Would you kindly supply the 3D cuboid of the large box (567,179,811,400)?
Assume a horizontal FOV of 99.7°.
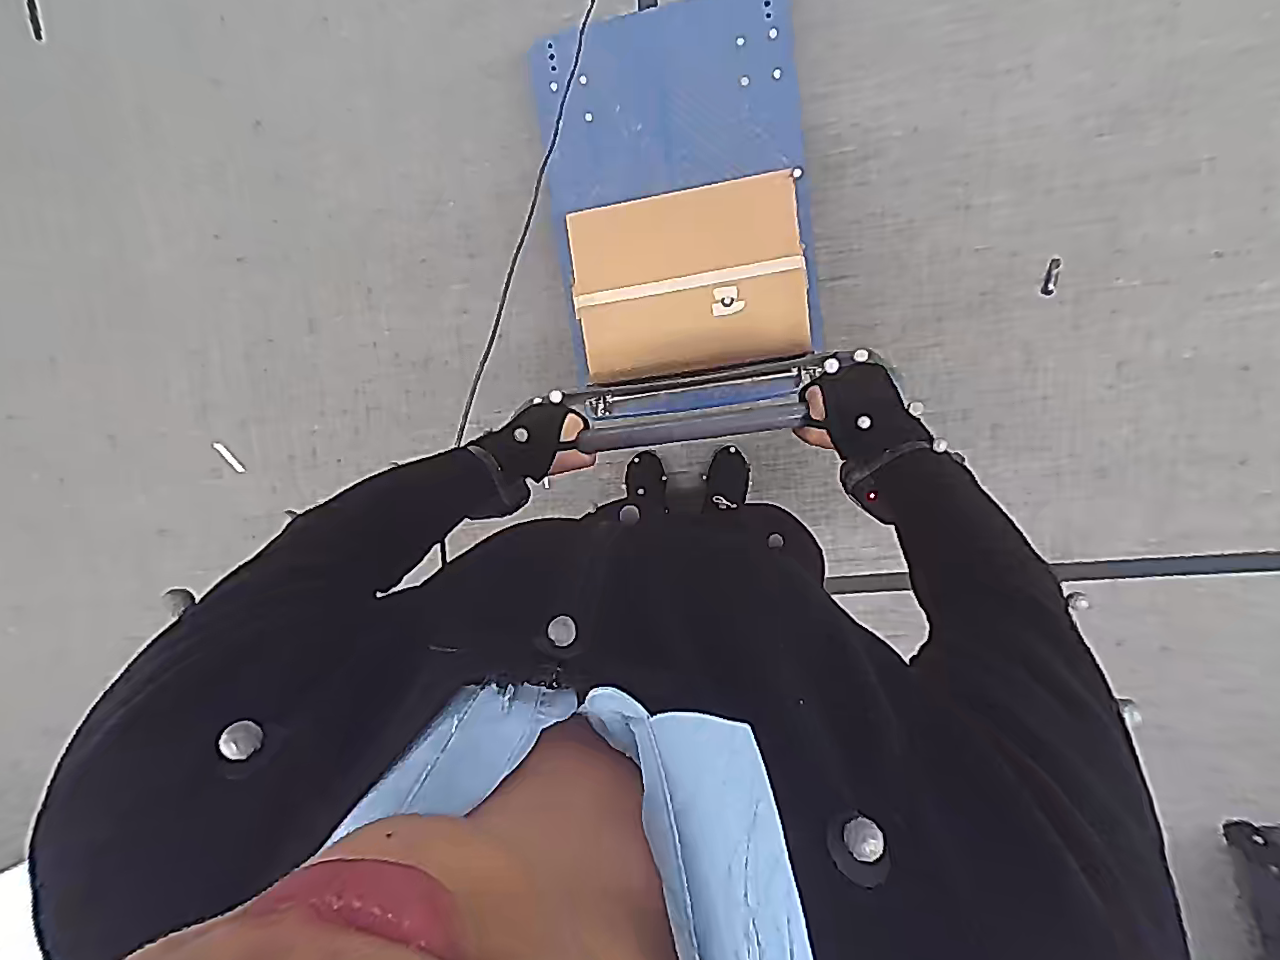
[{"bbox_3d":[0.101,-0.350,1.103,0.408,0.320,0.320,-7,97,8],"label":"large box"}]
